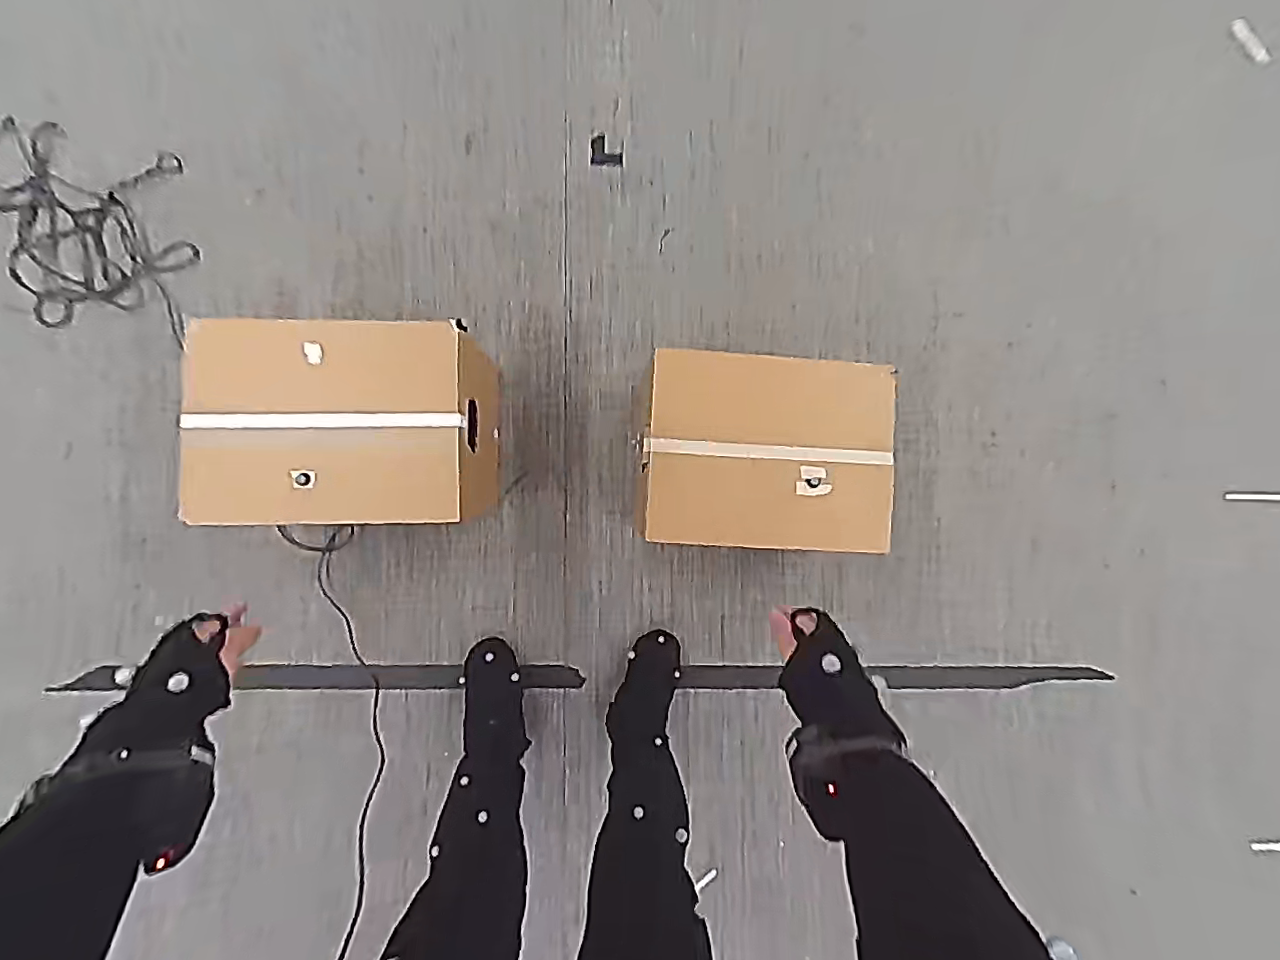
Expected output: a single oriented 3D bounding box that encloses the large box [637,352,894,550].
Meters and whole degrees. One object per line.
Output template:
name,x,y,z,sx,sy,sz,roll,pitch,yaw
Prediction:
large box,0.208,-0.039,1.032,0.408,0.320,0.320,3,88,-5
